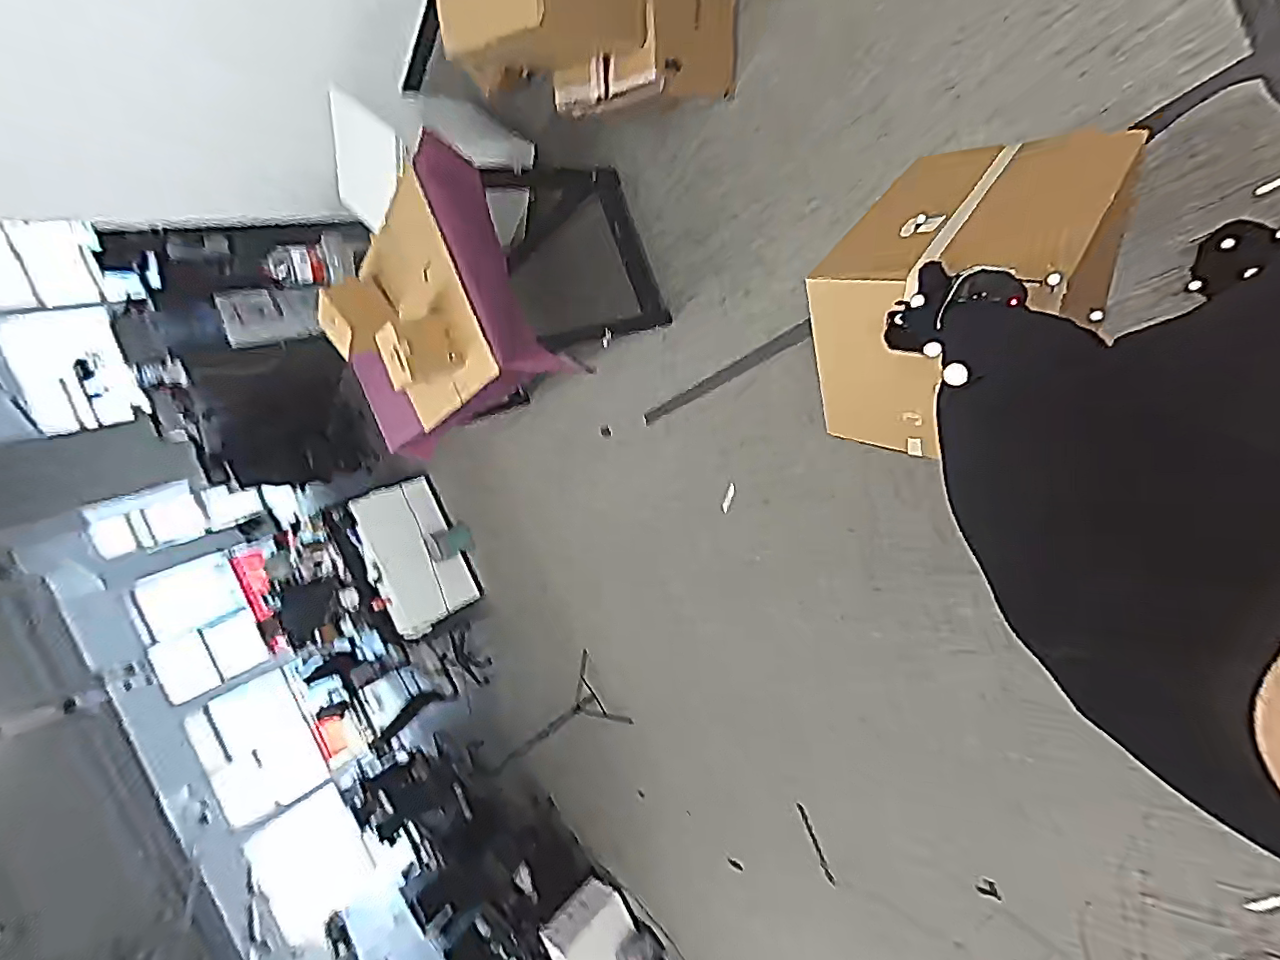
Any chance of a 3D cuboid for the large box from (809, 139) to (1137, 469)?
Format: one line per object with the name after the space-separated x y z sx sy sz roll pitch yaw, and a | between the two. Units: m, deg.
0.524 -0.290 0.881 0.320 0.408 0.320 21 149 40 | large box
